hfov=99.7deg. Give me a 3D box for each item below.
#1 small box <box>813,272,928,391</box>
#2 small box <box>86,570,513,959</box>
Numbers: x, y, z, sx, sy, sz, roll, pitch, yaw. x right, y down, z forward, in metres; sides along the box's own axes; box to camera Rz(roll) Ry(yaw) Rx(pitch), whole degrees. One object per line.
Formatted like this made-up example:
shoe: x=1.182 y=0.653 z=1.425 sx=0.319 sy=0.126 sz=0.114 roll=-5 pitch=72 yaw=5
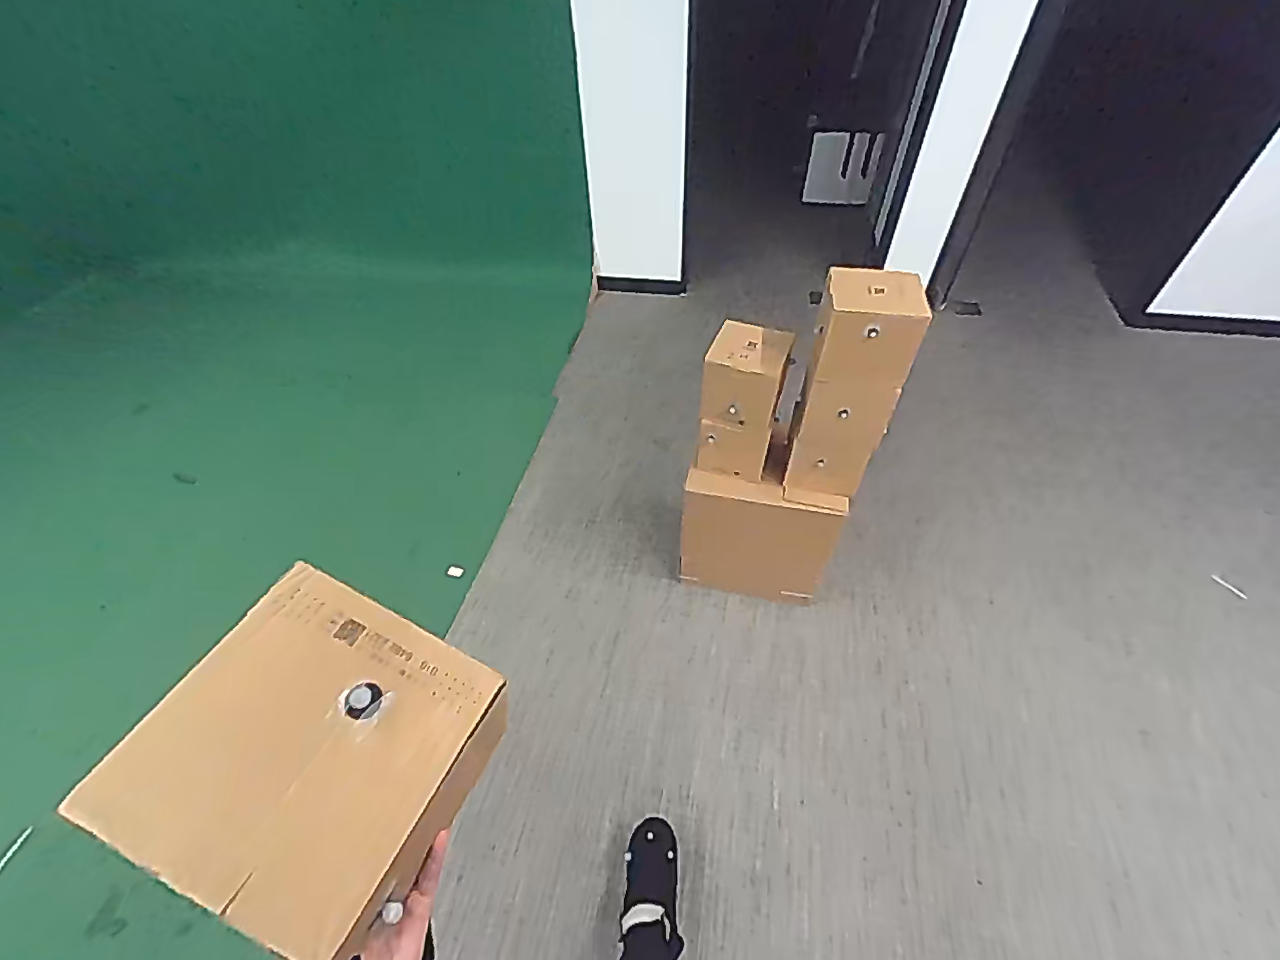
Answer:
small box: x=0.452 y=-0.298 z=1.092 sx=0.179 sy=0.176 sz=0.168 roll=8 pitch=49 yaw=9
small box: x=-0.207 y=0.198 z=0.395 sx=0.168 sy=0.179 sz=0.176 roll=27 pitch=54 yaw=6
